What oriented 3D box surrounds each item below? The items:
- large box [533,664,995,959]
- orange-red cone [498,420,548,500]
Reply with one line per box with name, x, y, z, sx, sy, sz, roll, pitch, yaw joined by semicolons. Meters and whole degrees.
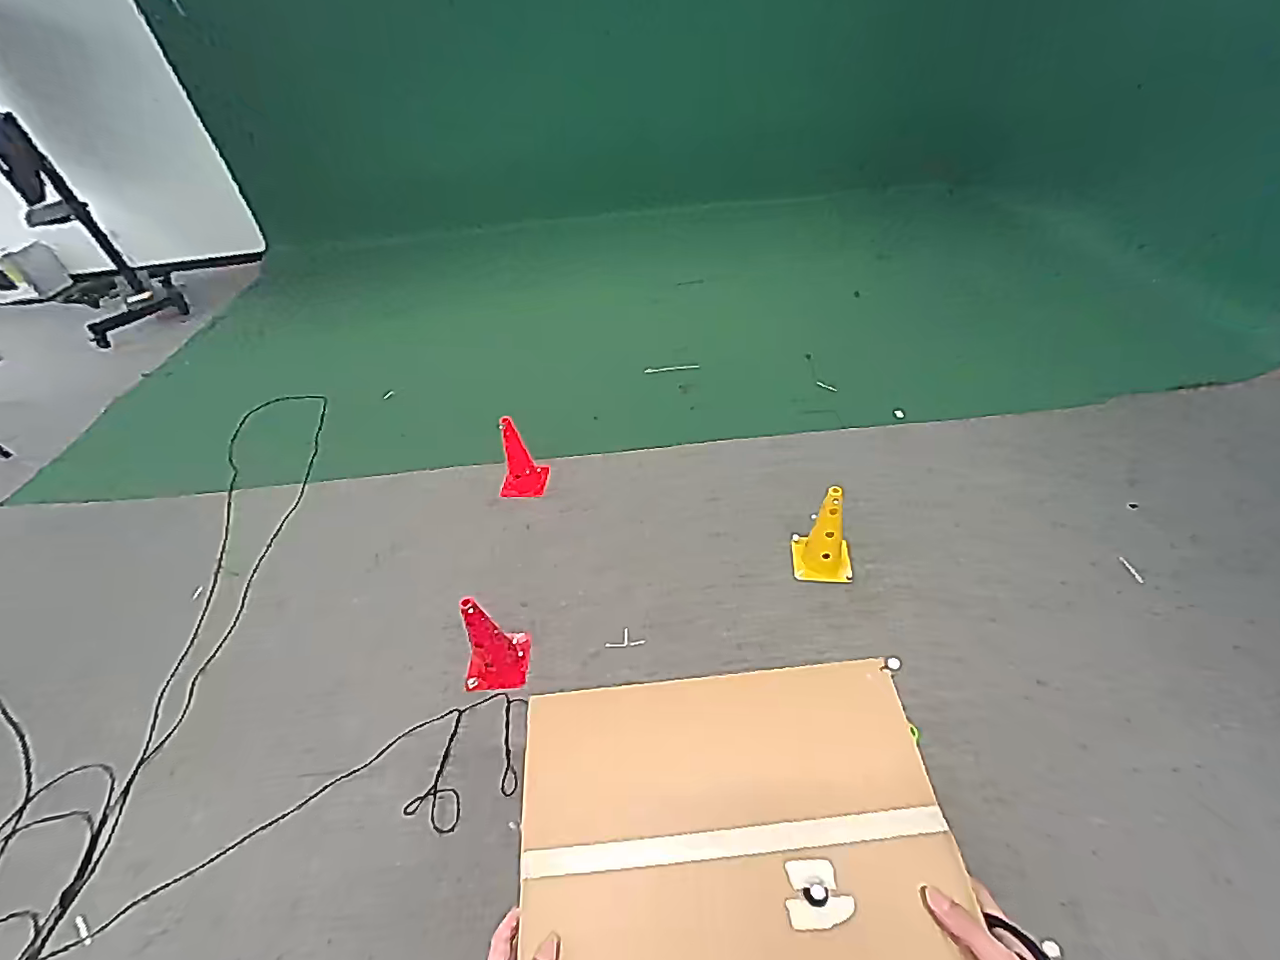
large box;0.103;0.444;0.635;0.408;0.320;0.320;-6;52;0
orange-red cone;-0.546;-0.105;2.320;0.199;0.360;0.198;-2;43;8
